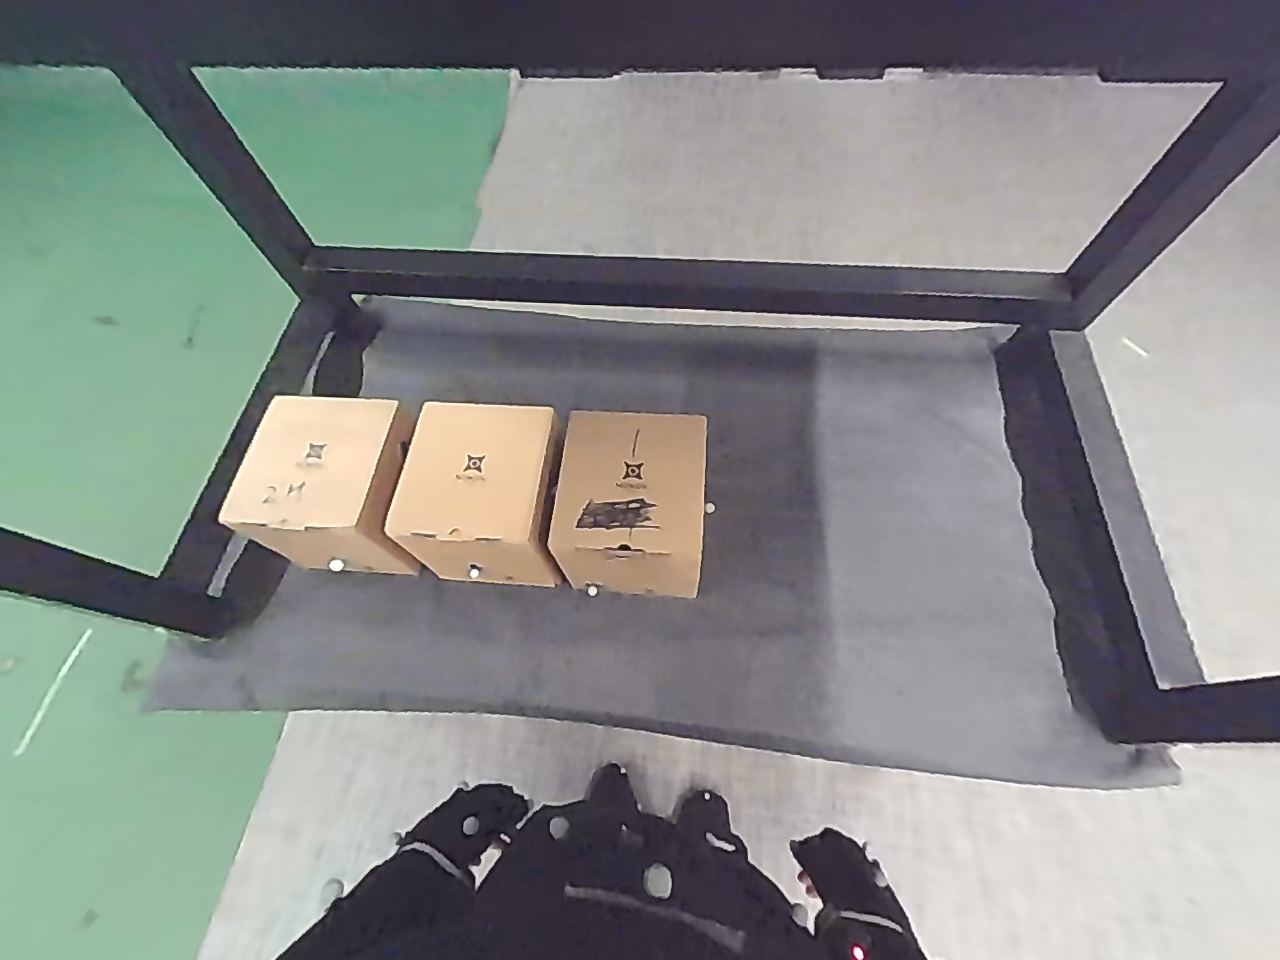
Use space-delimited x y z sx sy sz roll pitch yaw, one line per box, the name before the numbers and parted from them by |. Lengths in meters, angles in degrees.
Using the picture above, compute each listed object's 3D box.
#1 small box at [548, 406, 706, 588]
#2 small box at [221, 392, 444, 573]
small box | -0.005 0.028 0.674 0.168 0.176 0.179 3 63 5
small box | -0.378 0.007 0.707 0.168 0.176 0.179 3 63 6
